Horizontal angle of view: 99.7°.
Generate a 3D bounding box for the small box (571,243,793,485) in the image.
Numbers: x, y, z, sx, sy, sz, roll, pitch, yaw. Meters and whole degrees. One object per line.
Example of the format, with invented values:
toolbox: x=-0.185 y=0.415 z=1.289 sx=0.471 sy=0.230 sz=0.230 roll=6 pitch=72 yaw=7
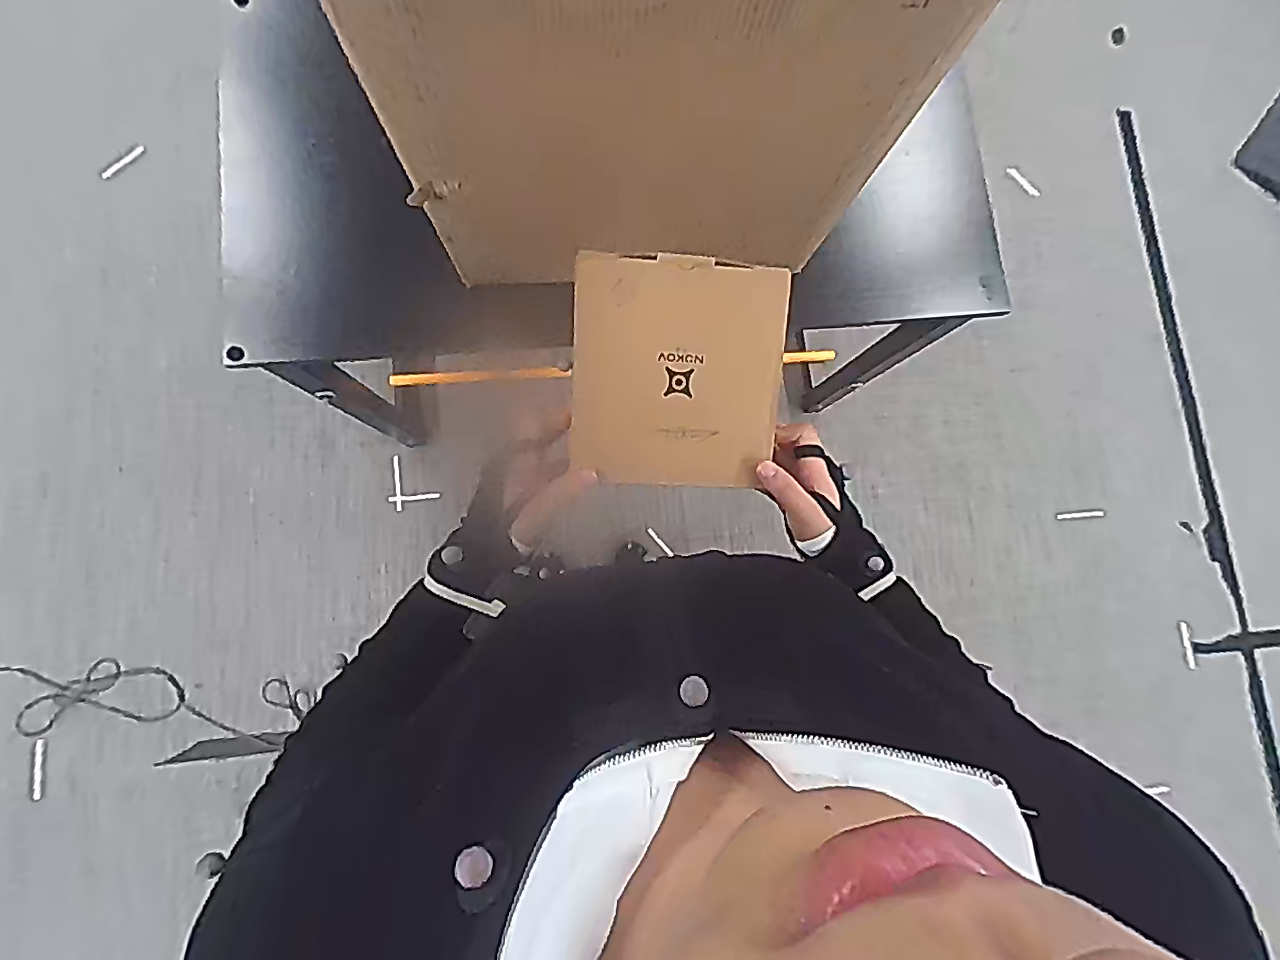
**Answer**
small box: x=0.023 y=-0.099 z=0.493 sx=0.168 sy=0.176 sz=0.179 roll=2 pitch=102 yaw=-7
